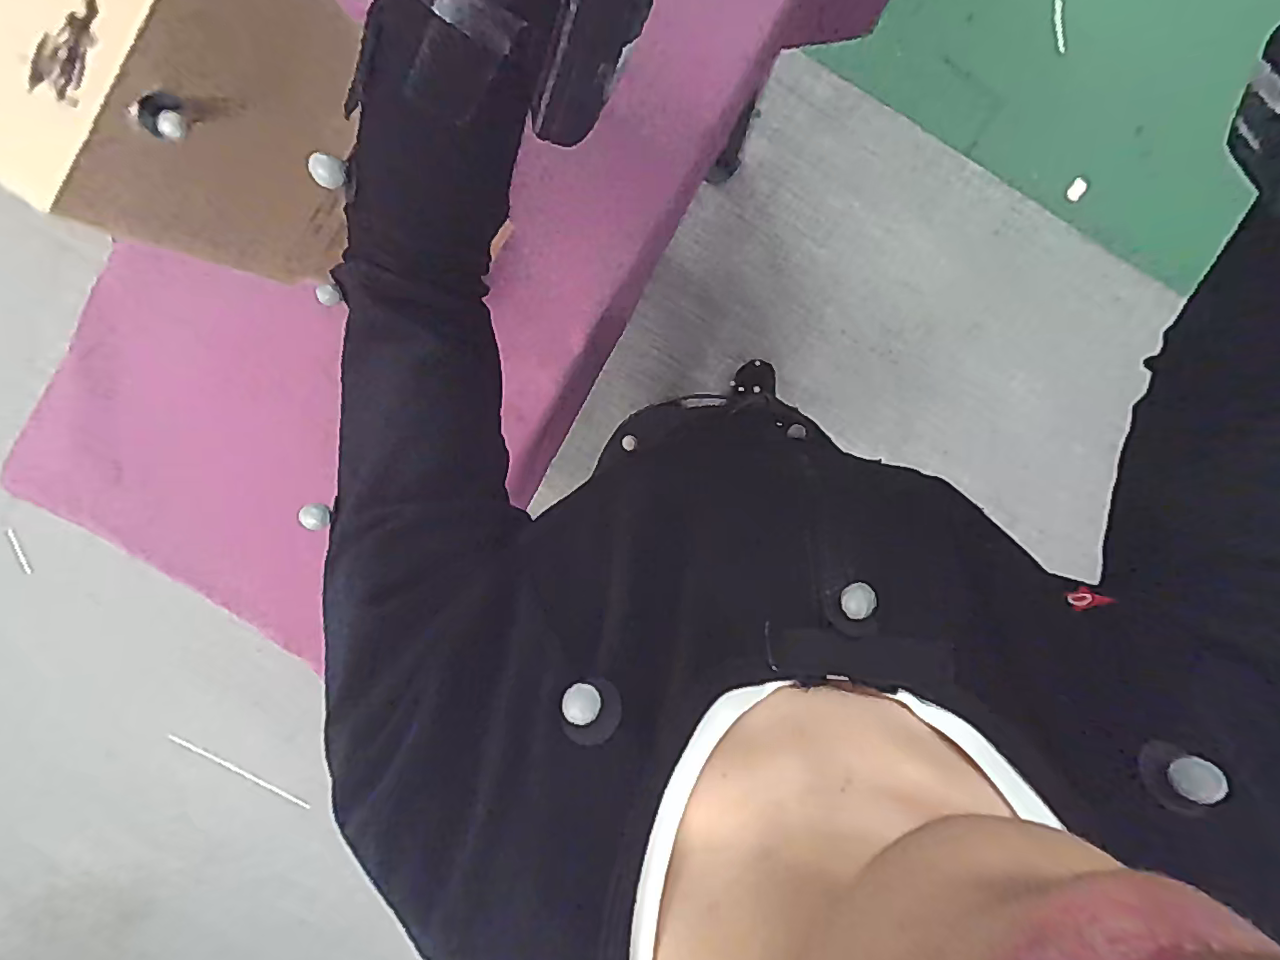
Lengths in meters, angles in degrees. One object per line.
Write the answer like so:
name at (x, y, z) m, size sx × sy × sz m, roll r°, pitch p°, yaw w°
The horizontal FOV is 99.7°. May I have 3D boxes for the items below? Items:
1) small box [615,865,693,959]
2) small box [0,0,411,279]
small box at (0.044, 1.304, 1.600) m, size 0.168 × 0.176 × 0.179 m, roll 30°, pitch 99°, yaw -3°
small box at (-0.274, -0.240, 0.305) m, size 0.179 × 0.176 × 0.168 m, roll 37°, pitch 100°, yaw -2°
